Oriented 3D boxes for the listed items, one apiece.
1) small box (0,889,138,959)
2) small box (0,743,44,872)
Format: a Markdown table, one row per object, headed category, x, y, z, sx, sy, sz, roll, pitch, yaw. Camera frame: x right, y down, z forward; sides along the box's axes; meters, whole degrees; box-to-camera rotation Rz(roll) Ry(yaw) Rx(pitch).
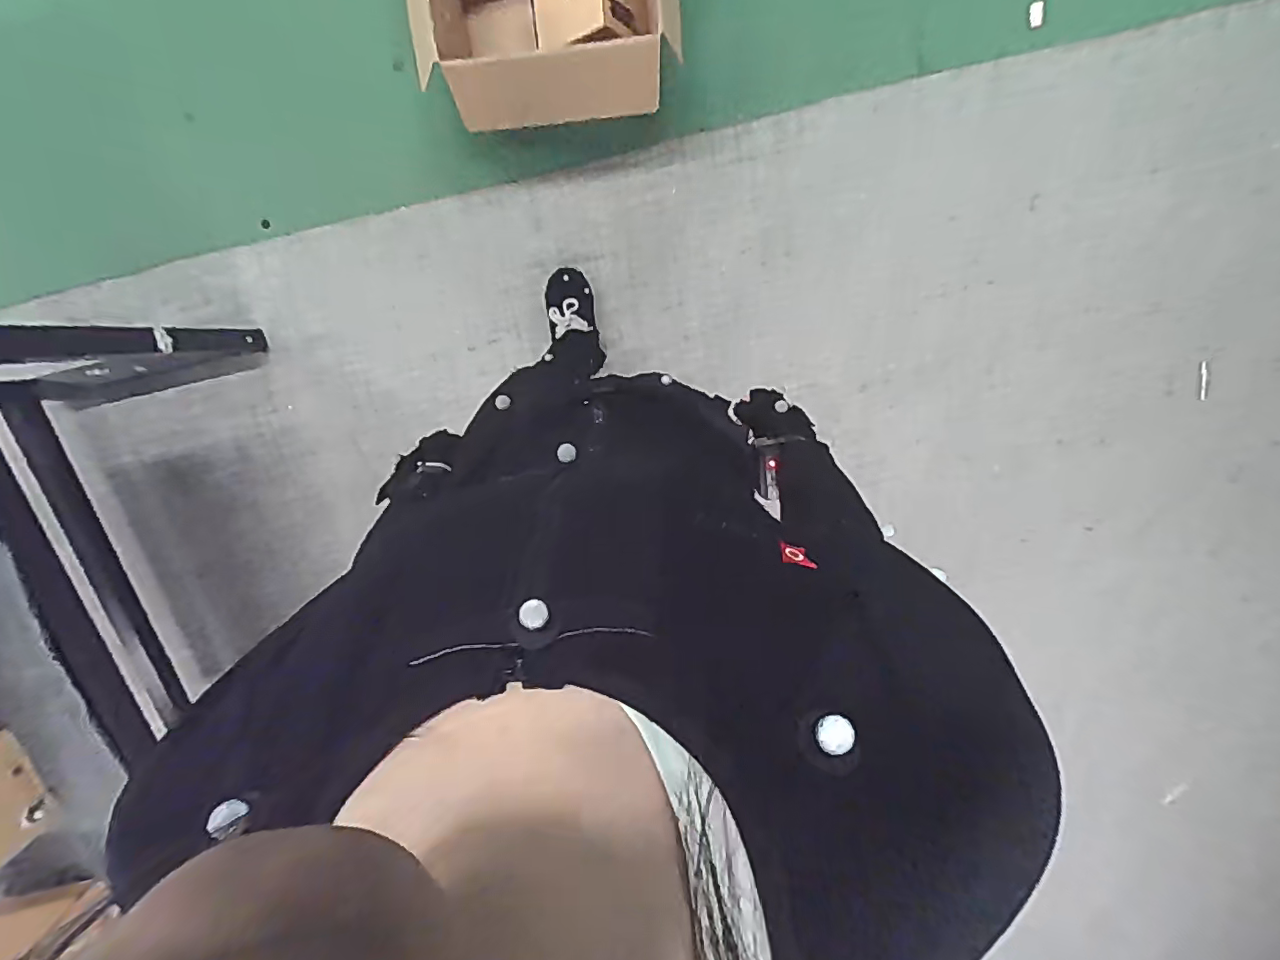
| category | x | y | z | sx | sy | sz | roll | pitch | yaw |
| --- | --- | --- | --- | --- | --- | --- | --- | --- | --- |
| small box | -0.928 | 0.762 | 0.806 | 0.179 | 0.176 | 0.168 | -13 | 104 | 2 |
| small box | -0.988 | 0.489 | 0.734 | 0.179 | 0.176 | 0.168 | -12 | 104 | 2 |
